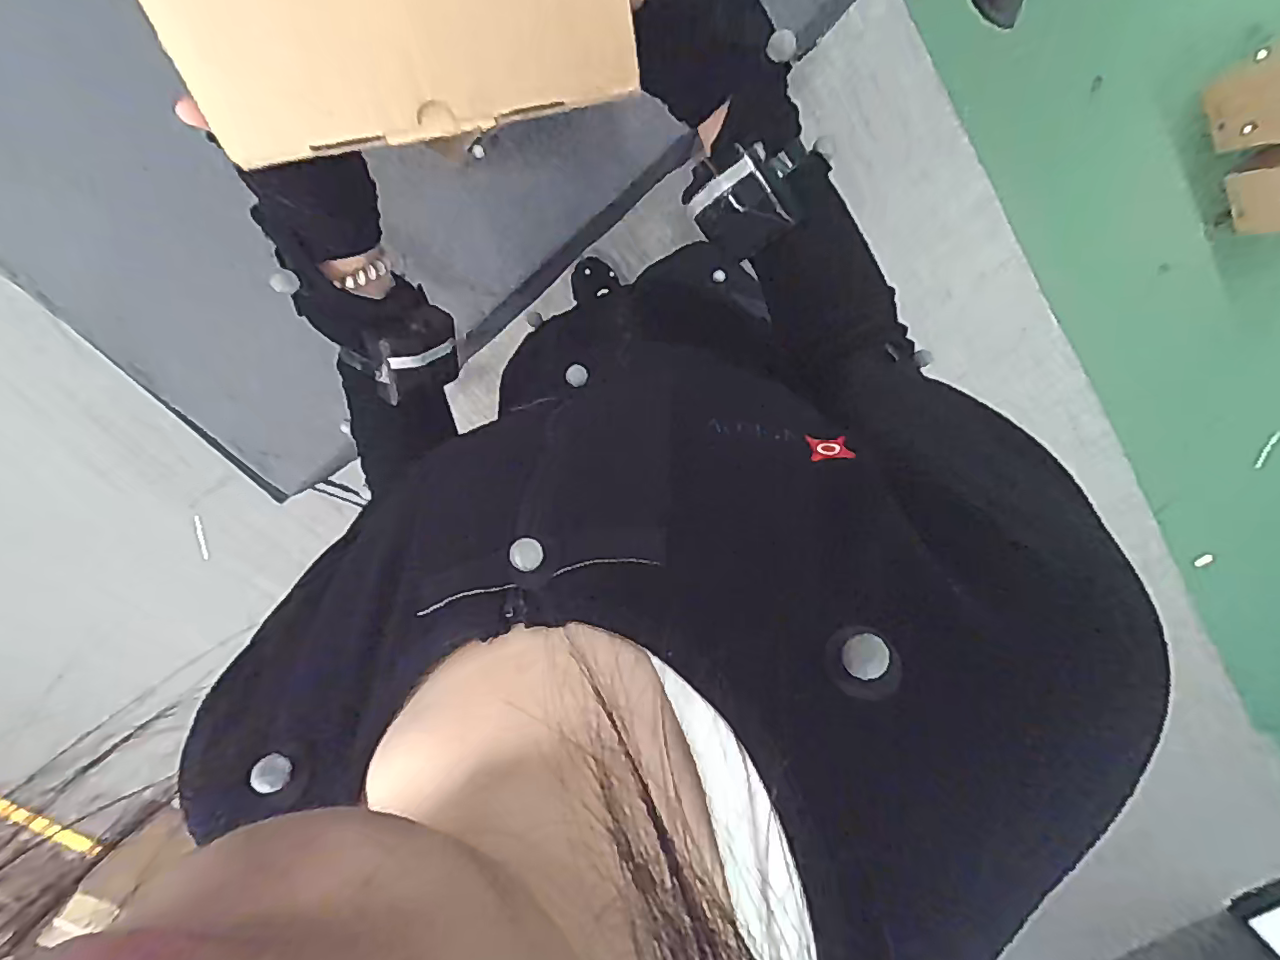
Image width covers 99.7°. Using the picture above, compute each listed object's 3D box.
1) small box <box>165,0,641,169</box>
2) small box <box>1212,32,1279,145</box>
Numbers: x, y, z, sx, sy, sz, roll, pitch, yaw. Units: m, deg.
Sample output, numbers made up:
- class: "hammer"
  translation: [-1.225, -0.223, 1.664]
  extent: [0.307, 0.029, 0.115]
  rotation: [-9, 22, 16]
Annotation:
- class: "small box"
  translation: [-0.102, -0.259, 0.228]
  extent: [0.168, 0.176, 0.179]
  rotation: [-12, 133, -2]
- class: "small box"
  translation: [1.400, -0.862, 1.163]
  extent: [0.179, 0.176, 0.168]
  rotation: [-33, 109, 11]
